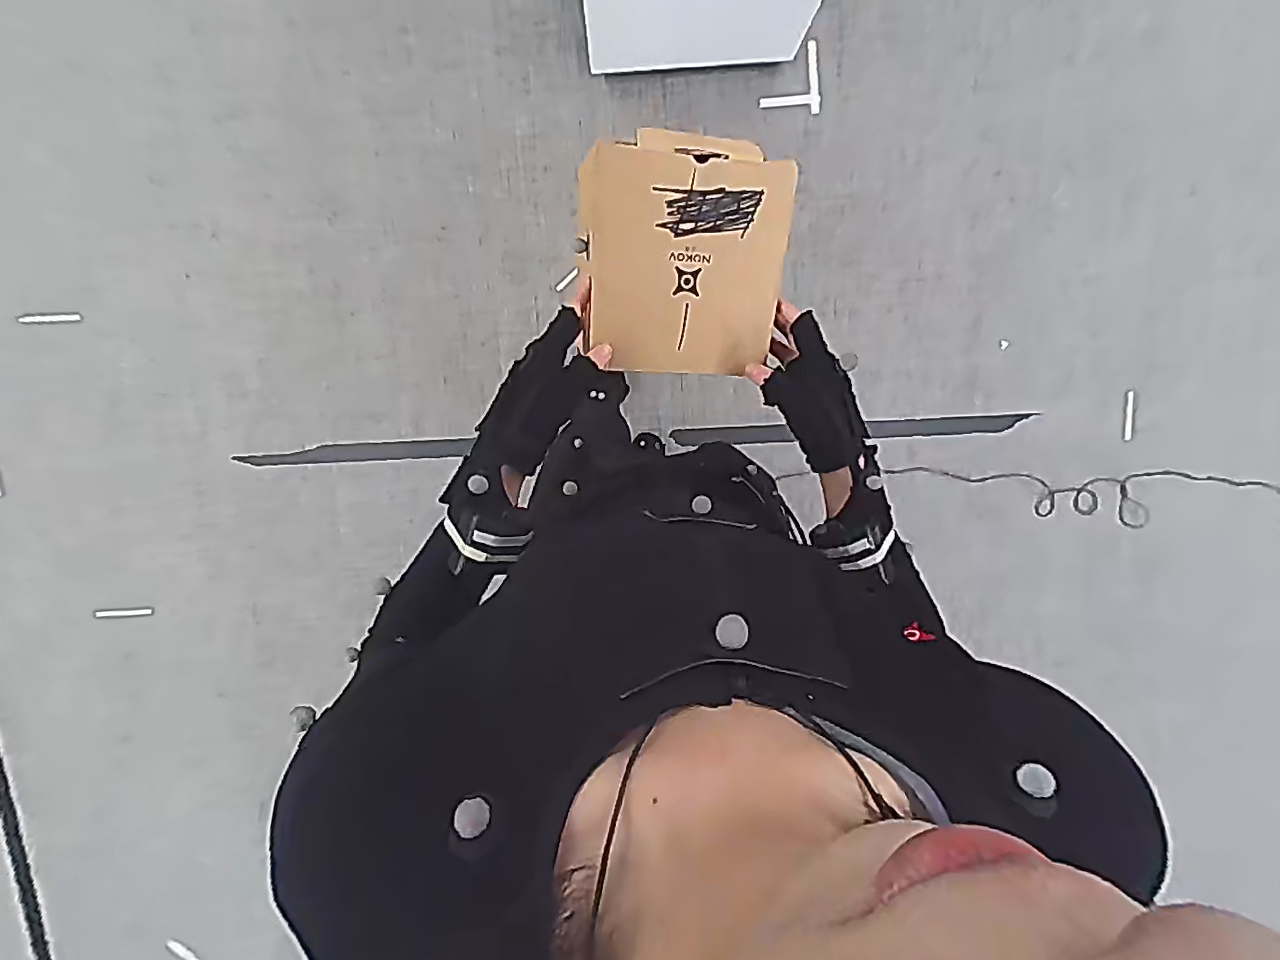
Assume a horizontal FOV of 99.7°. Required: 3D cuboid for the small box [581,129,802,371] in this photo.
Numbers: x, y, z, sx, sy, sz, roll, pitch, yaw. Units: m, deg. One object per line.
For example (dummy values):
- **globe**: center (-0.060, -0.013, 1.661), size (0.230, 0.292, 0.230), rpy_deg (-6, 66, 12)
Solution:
- **small box**: center (0.032, -0.212, 0.524), size (0.168, 0.176, 0.179), rpy_deg (1, 112, -11)
